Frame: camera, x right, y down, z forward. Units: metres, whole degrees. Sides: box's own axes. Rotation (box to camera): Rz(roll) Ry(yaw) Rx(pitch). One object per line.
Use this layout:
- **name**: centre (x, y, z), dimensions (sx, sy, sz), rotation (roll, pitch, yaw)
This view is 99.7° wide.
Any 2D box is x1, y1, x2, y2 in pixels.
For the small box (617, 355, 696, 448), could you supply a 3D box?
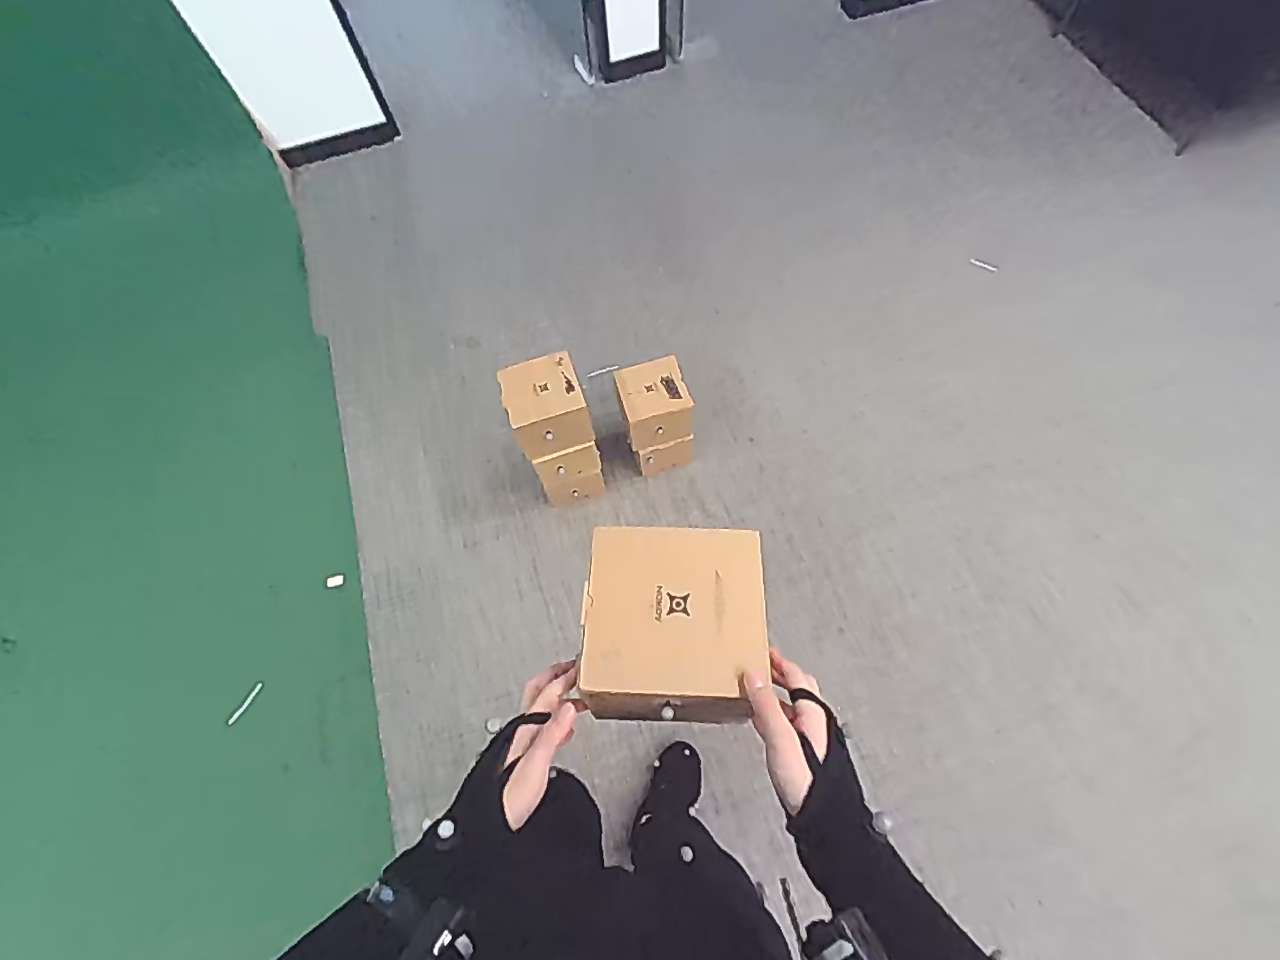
- **small box**: centre (0.045, -0.210, 1.485), dimensions (0.179, 0.176, 0.168), rotation (-16, 67, -3)

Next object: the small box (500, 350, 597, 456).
- **small box**: centre (-0.216, -0.179, 1.310), dimensions (0.179, 0.176, 0.168), rotation (-19, 68, -4)

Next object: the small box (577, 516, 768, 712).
- **small box**: centre (0.036, 0.153, 0.595), dimensions (0.179, 0.176, 0.168), rotation (1, 58, 3)

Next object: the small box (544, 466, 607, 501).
- **small box**: centre (-0.200, -0.049, 1.609), dimensions (0.168, 0.176, 0.179), rotation (-16, 68, -4)

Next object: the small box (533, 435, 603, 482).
- **small box**: centre (-0.206, -0.111, 1.460), dimensions (0.168, 0.176, 0.179), rotation (-19, 67, -5)
